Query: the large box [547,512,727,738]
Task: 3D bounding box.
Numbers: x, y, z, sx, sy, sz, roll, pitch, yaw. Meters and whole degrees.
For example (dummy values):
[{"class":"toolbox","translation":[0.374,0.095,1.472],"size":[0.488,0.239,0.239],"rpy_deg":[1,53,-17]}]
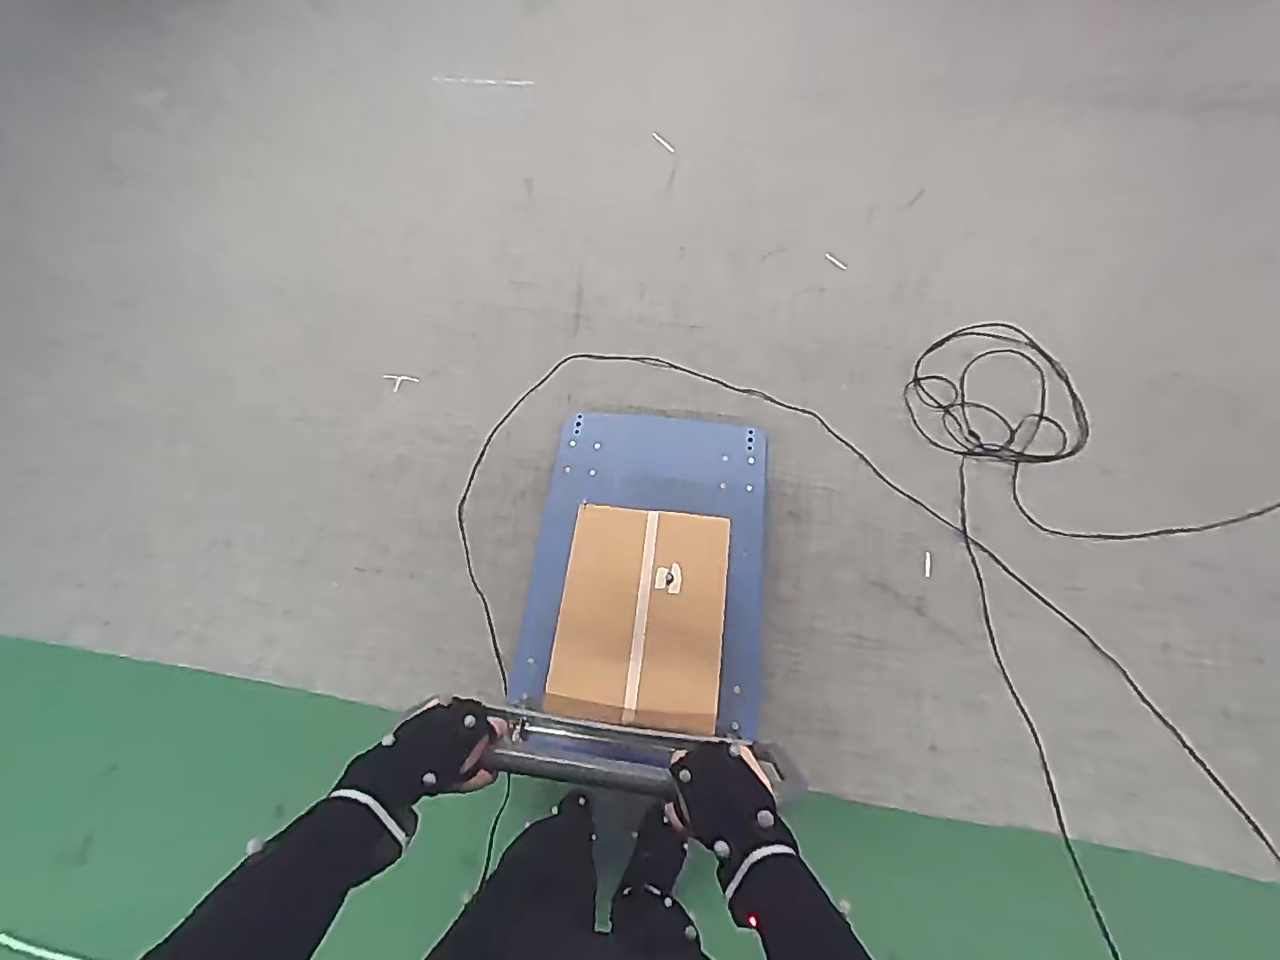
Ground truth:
[{"class":"large box","translation":[0.011,0.320,1.169],"size":[0.320,0.320,0.408],"rpy_deg":[6,67,5]}]
